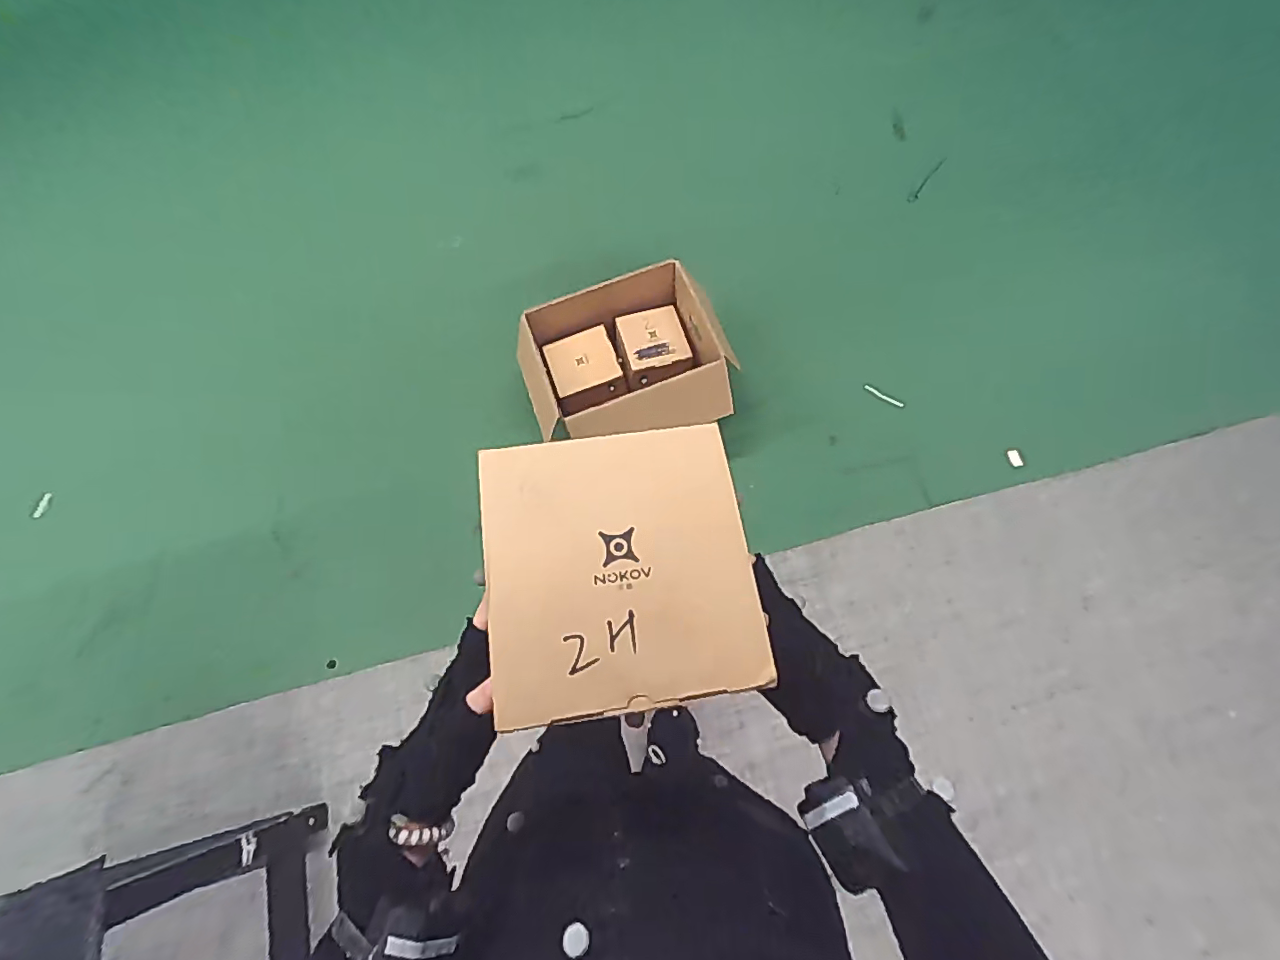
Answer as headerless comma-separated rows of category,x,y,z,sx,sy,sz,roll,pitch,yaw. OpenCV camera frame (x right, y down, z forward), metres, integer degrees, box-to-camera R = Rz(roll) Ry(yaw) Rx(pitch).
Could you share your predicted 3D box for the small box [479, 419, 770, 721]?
small box,-0.020,0.075,0.414,0.168,0.176,0.179,-8,71,-5
